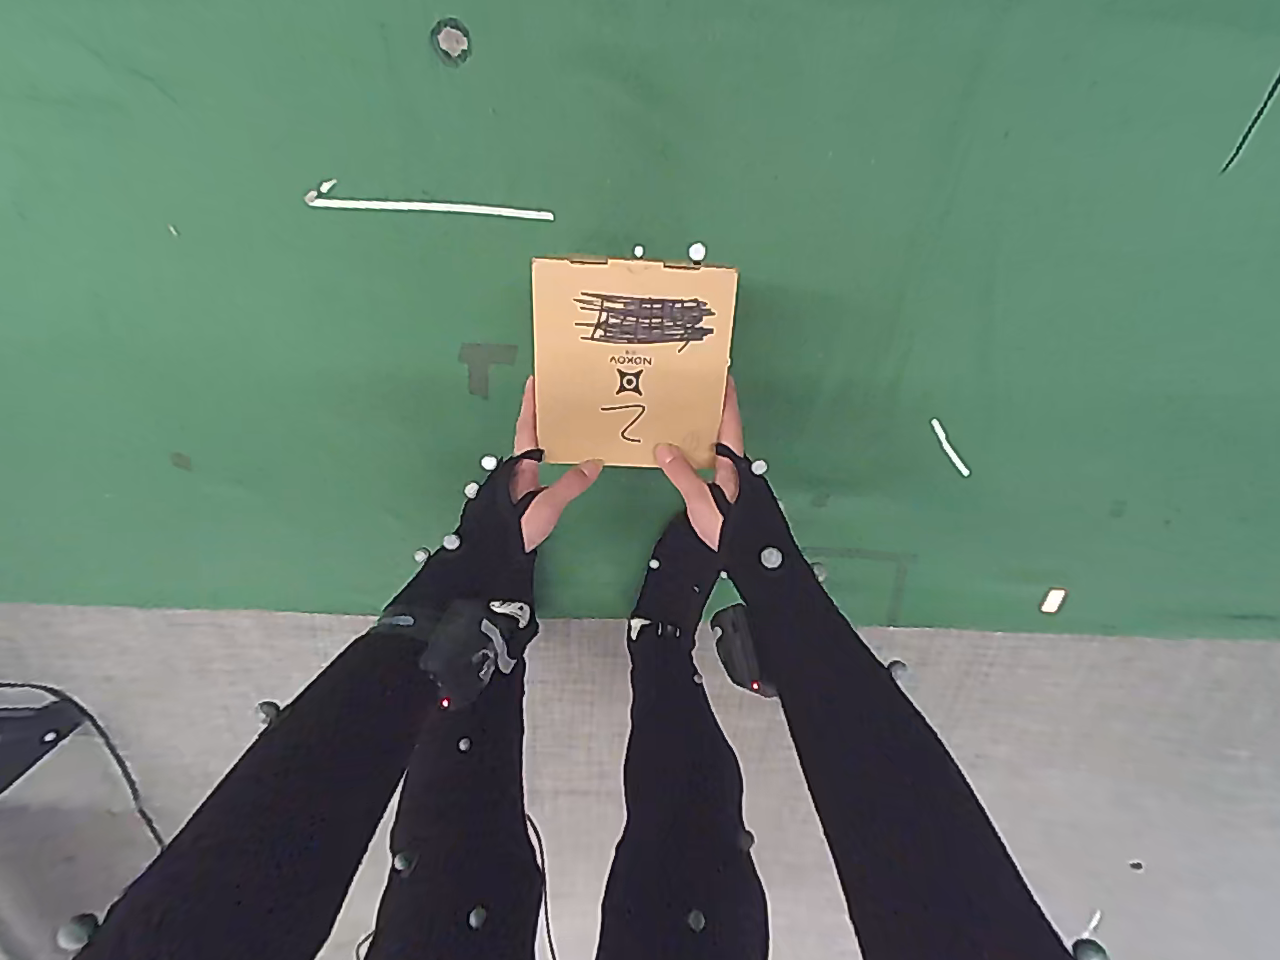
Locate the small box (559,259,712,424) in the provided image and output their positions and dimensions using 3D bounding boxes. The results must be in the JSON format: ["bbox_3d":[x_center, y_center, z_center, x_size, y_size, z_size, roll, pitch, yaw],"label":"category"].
[{"bbox_3d":[-0.010,-0.182,0.686,0.168,0.176,0.179,3,113,-1],"label":"small box"}]
